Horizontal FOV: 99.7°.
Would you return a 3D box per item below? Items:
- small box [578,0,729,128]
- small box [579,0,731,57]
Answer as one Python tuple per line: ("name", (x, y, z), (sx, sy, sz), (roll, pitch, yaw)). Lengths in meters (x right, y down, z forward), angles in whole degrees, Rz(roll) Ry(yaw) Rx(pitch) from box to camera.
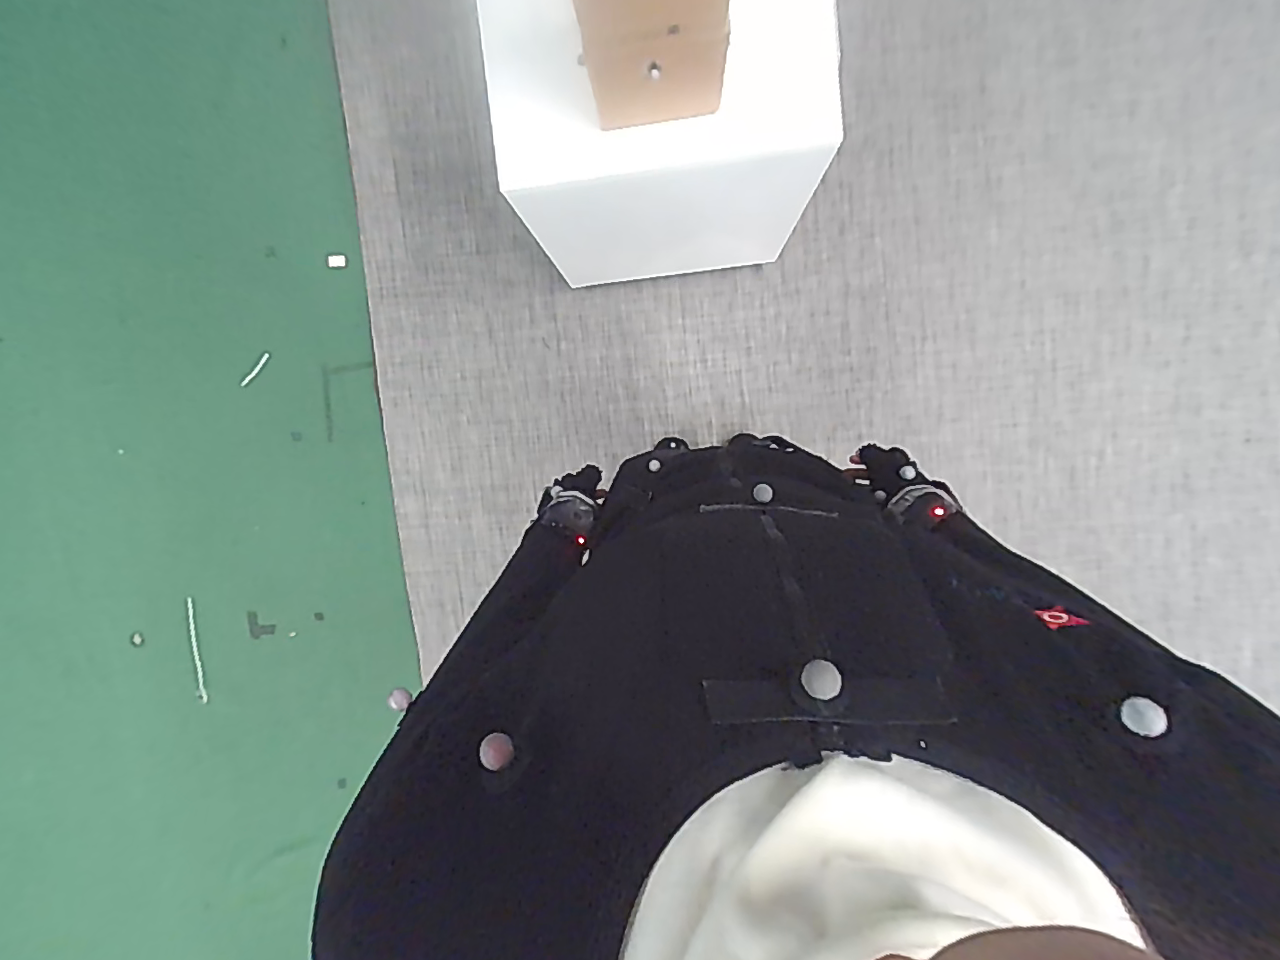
("small box", (0.017, -0.597, 0.711), (0.179, 0.176, 0.168), (-6, 95, 4))
("small box", (0.007, -0.587, 0.550), (0.168, 0.176, 0.179), (-7, 95, 4))
